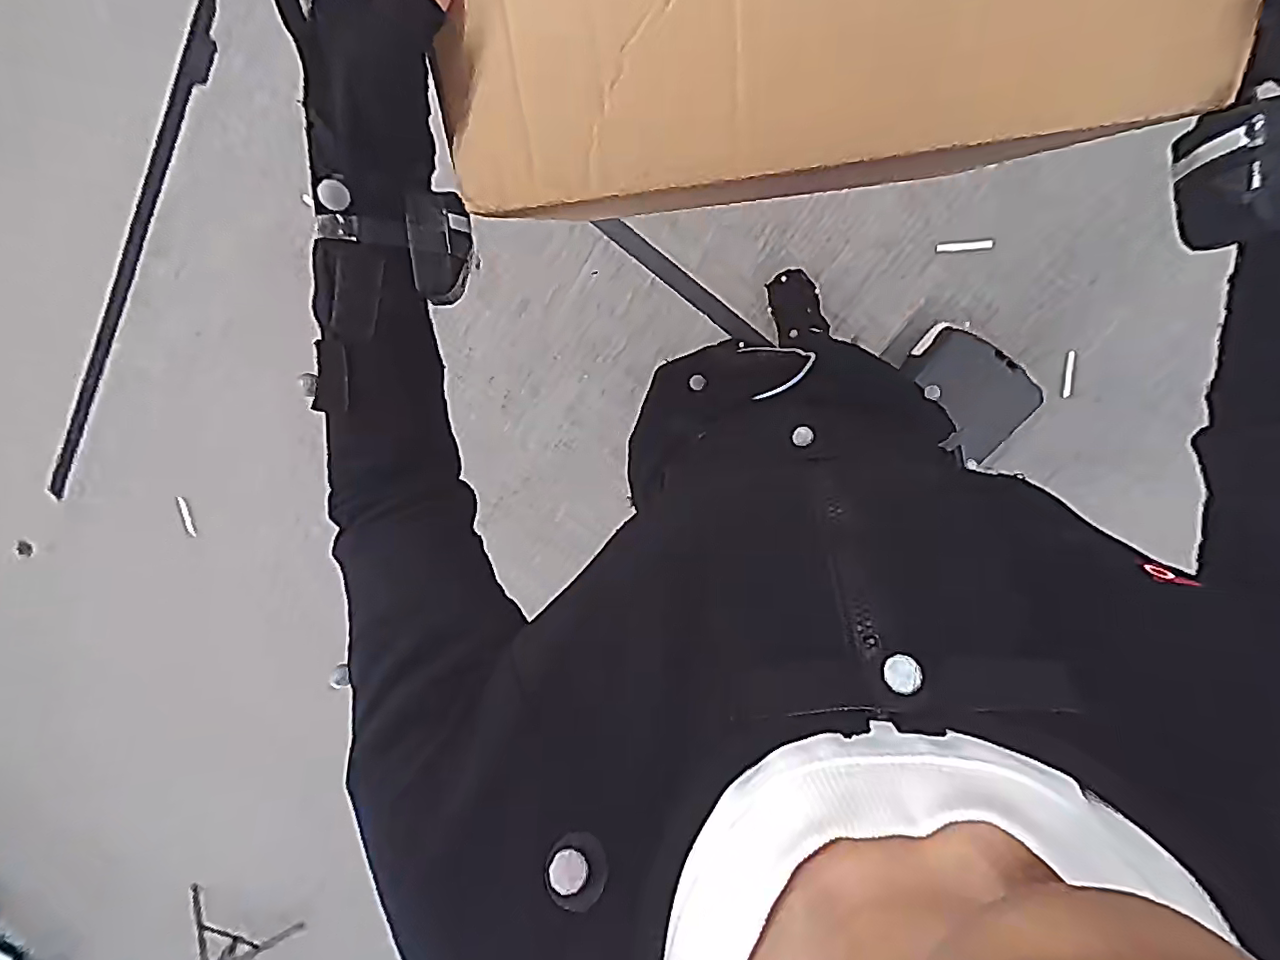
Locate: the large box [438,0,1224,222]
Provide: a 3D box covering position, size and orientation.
[{"bbox_3d":[0.090,-0.387,0.385,0.408,0.320,0.320,-5,114,9],"label":"large box"}]
